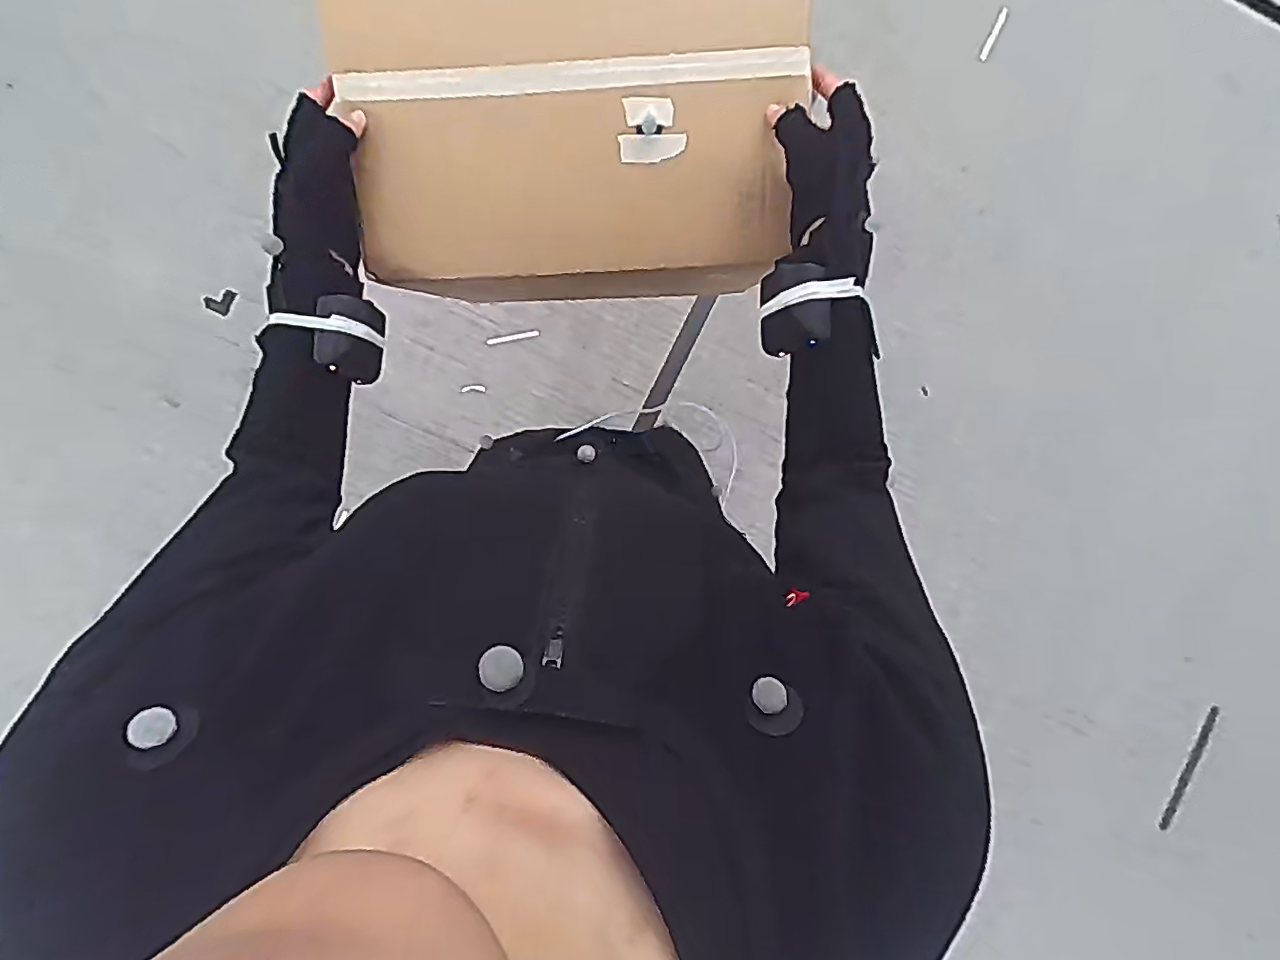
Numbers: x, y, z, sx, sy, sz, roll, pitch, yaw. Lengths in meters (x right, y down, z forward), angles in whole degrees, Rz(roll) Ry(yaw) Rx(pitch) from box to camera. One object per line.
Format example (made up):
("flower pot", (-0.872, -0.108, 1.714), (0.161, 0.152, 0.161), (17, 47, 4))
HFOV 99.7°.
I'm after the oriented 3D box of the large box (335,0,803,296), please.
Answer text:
("large box", (-0.059, -0.394, 0.612), (0.408, 0.320, 0.320), (-3, 105, 0))
